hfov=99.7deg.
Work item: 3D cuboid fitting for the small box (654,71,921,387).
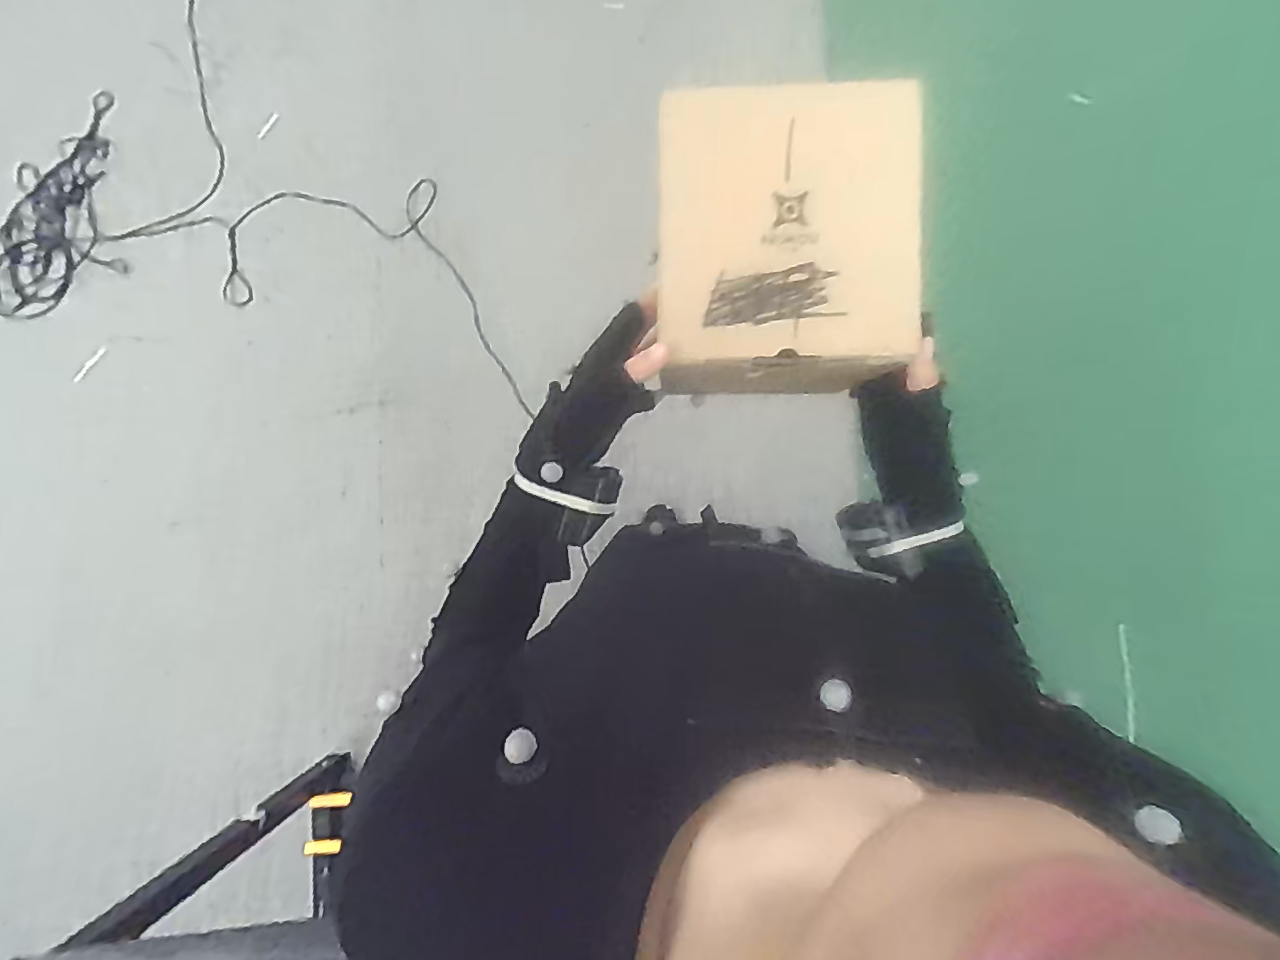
[{"bbox_3d":[0.097,-0.168,0.421,0.168,0.176,0.179,0,91,3],"label":"small box"}]
